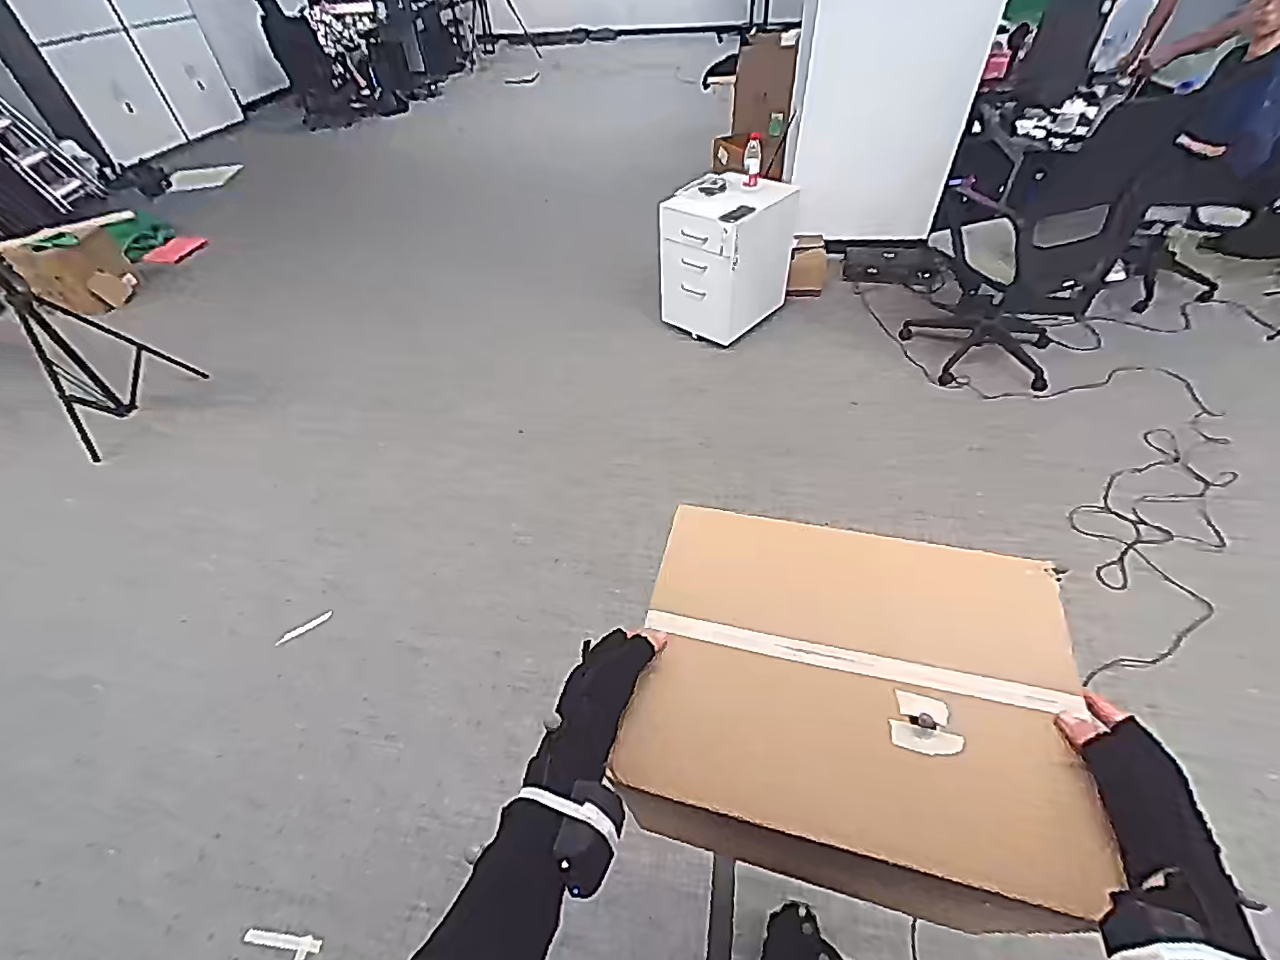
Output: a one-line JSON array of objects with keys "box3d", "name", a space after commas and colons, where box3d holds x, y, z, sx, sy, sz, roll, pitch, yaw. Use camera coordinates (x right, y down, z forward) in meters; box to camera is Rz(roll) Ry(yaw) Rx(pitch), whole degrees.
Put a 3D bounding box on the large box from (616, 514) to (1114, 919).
[{"box3d": [0.214, 0.277, 0.651, 0.408, 0.320, 0.320, 9, 53, 13], "name": "large box"}]
